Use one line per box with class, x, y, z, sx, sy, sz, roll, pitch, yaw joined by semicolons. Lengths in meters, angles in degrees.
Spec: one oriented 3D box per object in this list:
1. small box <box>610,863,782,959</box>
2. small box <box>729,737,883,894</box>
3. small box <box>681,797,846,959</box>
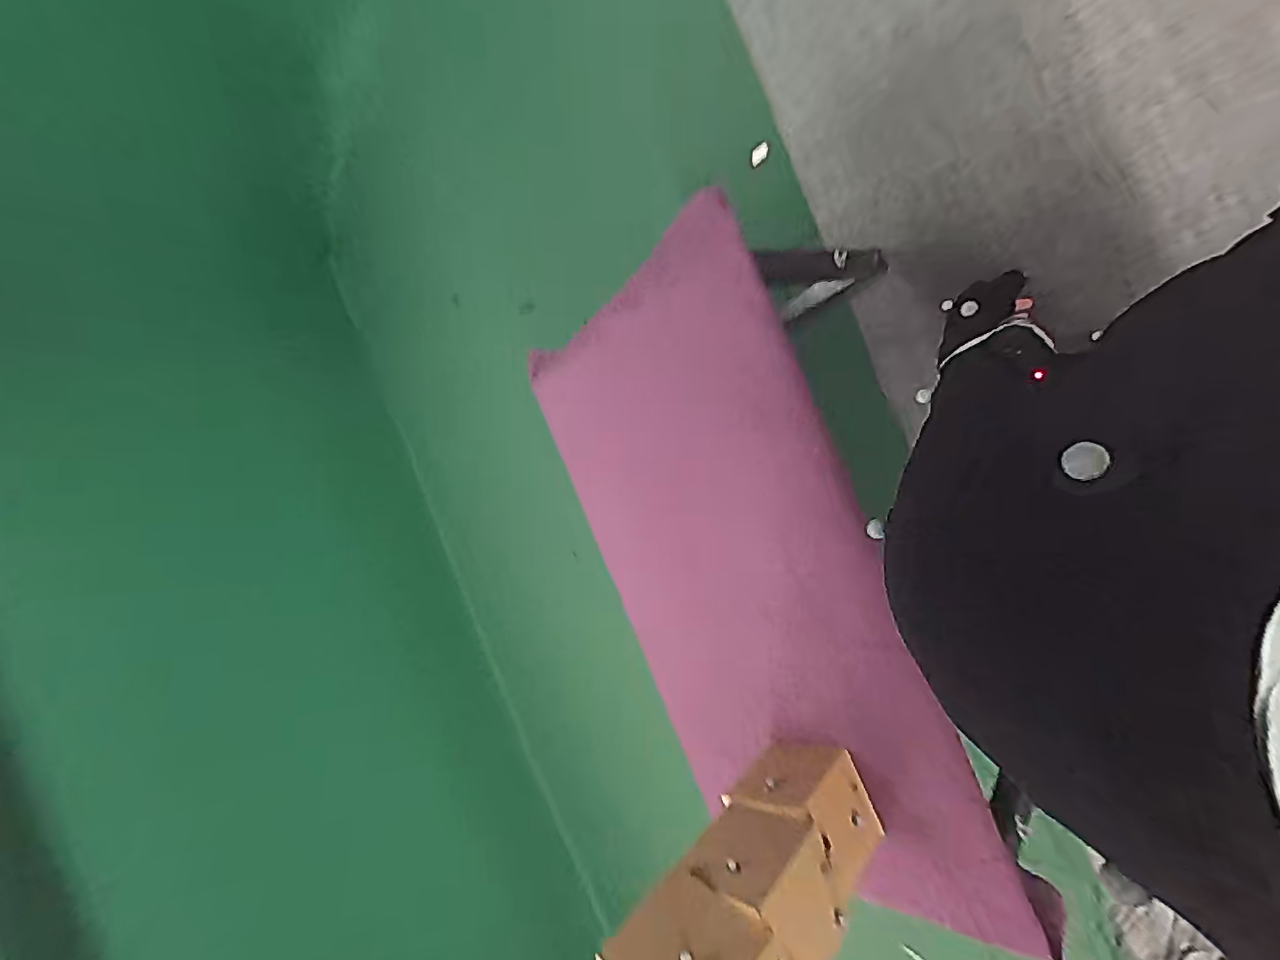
small box;0.087;0.685;0.743;0.179;0.176;0.168;4;108;43
small box;0.299;0.589;0.975;0.179;0.176;0.168;-27;86;47
small box;0.201;0.639;0.853;0.179;0.176;0.168;-20;91;48
